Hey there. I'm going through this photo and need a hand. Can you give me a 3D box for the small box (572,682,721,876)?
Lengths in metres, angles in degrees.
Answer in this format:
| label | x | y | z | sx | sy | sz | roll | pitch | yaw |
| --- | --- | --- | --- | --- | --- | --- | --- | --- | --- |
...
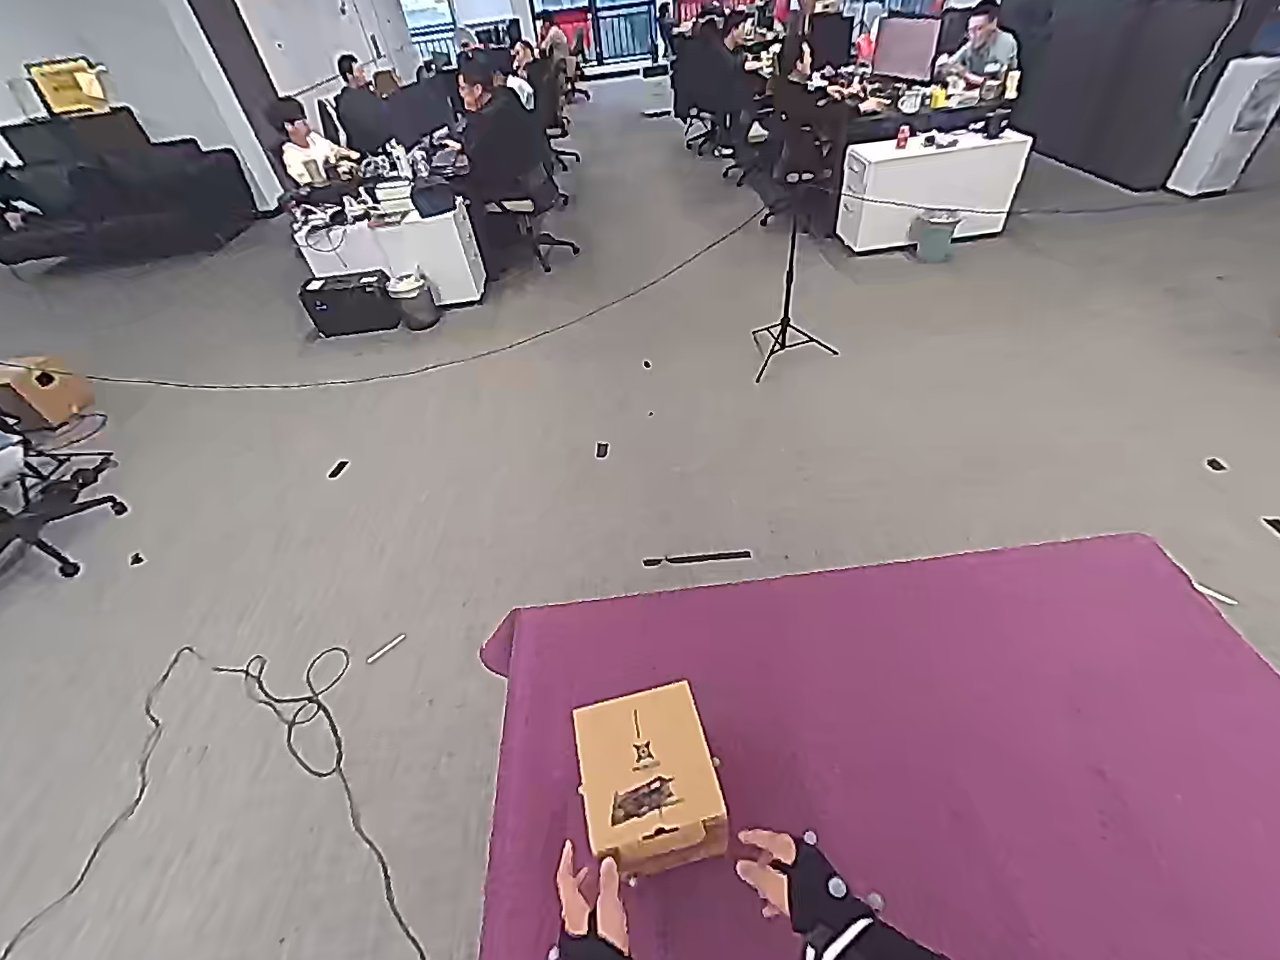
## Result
| label | x | y | z | sx | sy | sz | roll | pitch | yaw |
| --- | --- | --- | --- | --- | --- | --- | --- | --- | --- |
| small box | 0.011 | 0.414 | 0.742 | 0.168 | 0.176 | 0.179 | -13 | 42 | -5 |
